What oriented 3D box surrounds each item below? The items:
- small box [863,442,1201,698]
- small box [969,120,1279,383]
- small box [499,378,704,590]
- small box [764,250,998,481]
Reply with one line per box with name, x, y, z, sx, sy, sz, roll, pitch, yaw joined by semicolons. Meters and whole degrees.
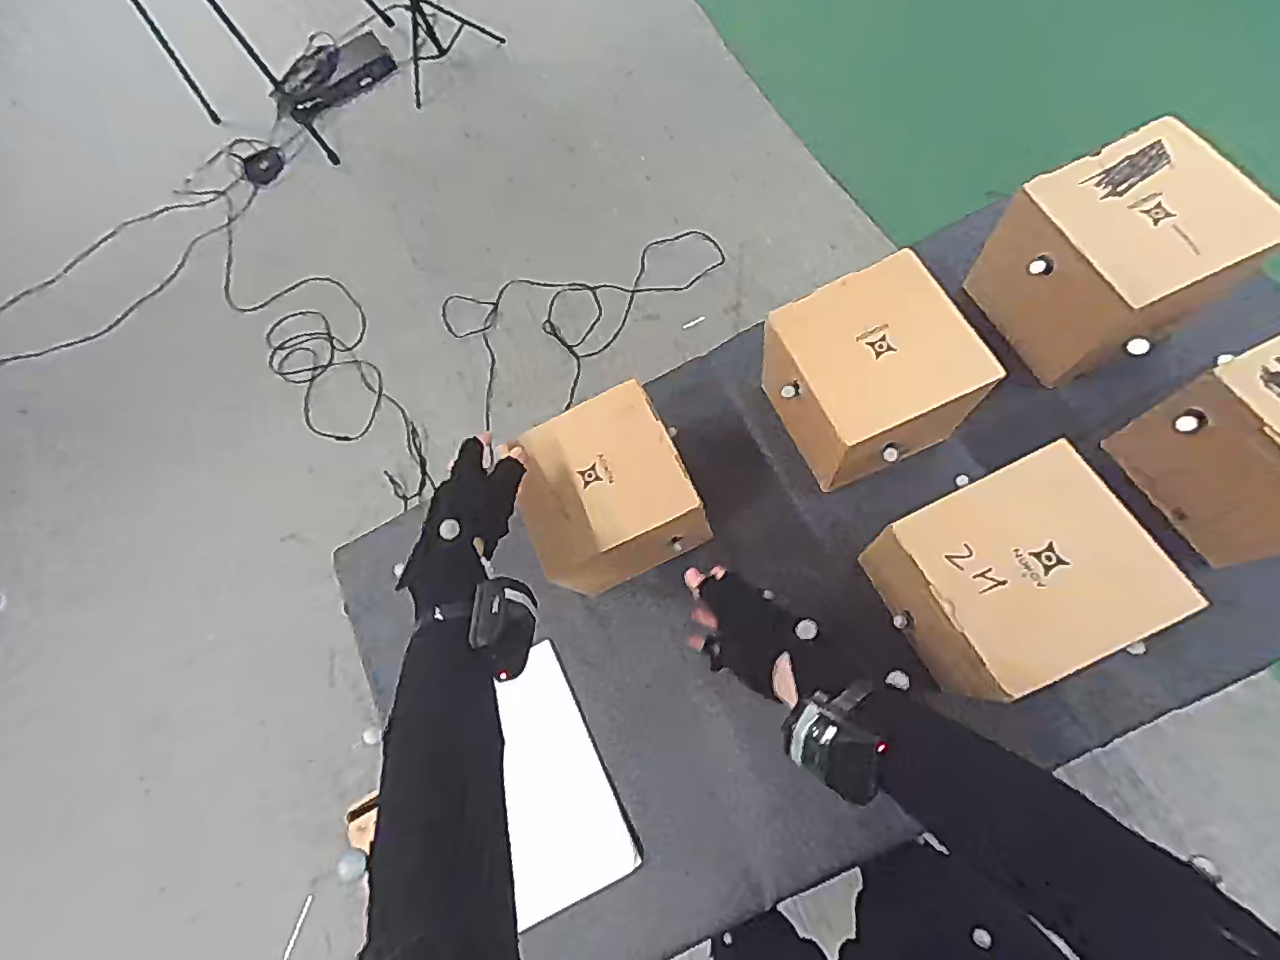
small box;0.349;0.094;0.530;0.179;0.176;0.168;-27;68;3
small box;0.515;-0.242;0.606;0.168;0.176;0.179;-25;70;4
small box;-0.034;0.015;0.637;0.179;0.176;0.168;-25;69;2
small box;0.255;-0.114;0.622;0.168;0.176;0.179;-25;69;3
